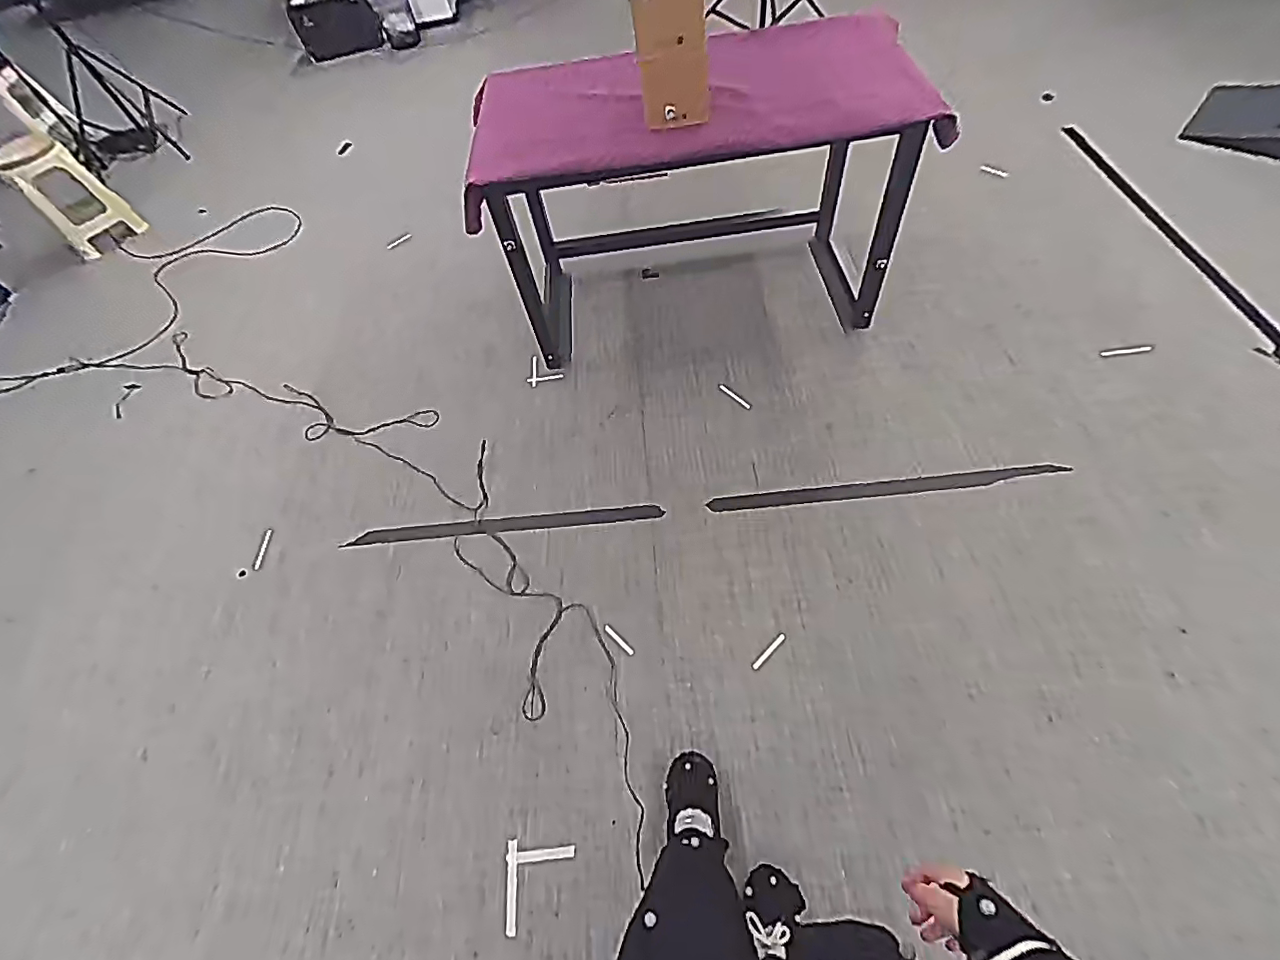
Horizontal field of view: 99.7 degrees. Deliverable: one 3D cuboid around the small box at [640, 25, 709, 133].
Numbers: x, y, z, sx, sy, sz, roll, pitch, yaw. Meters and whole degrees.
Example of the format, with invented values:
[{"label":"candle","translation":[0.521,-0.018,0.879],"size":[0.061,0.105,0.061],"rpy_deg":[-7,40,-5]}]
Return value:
[{"label":"small box","translation":[0.091,-1.034,1.400],"size":[0.168,0.176,0.179],"rpy_deg":[-5,58,6]}]
